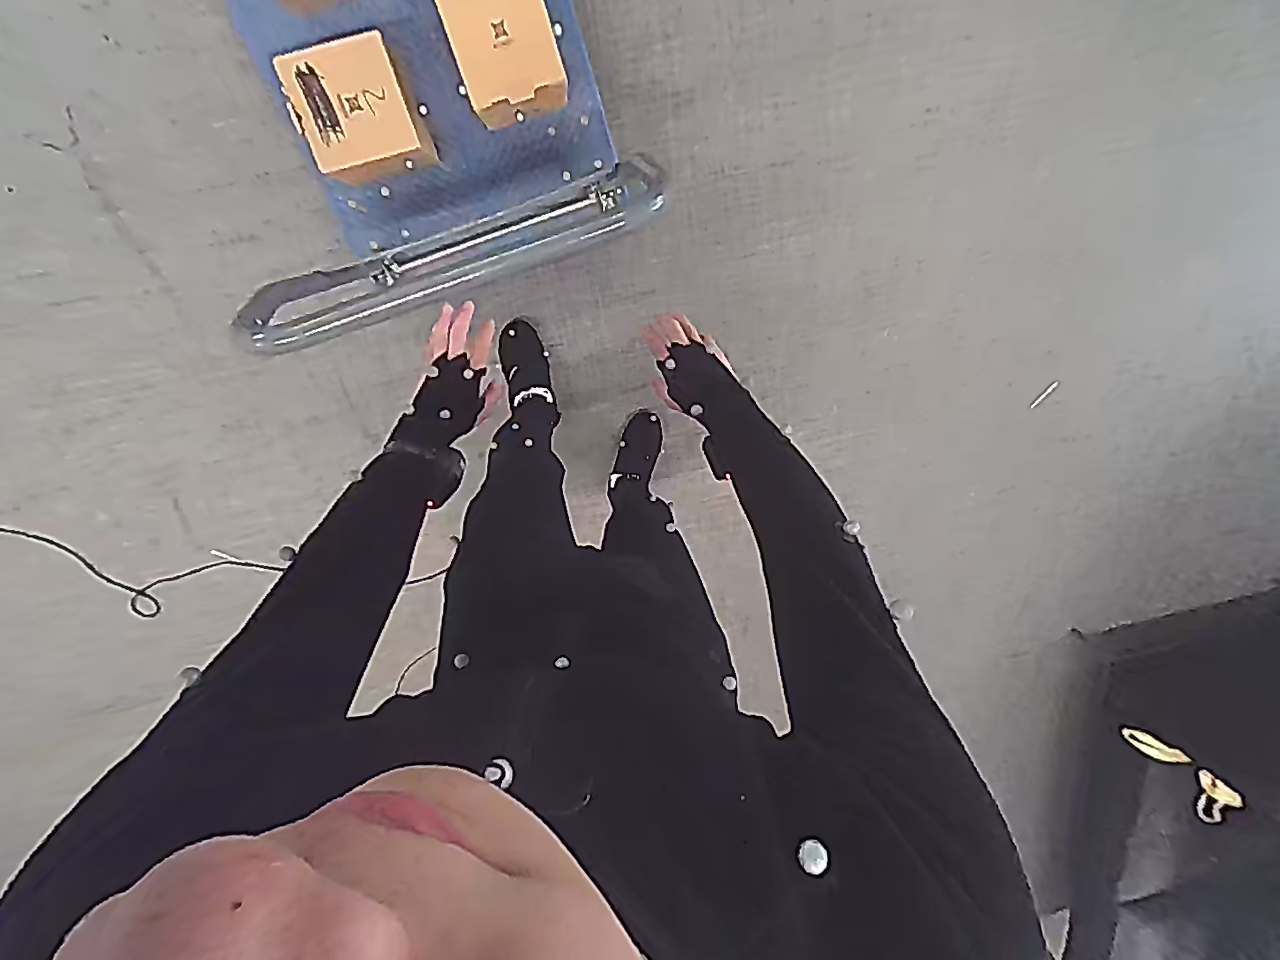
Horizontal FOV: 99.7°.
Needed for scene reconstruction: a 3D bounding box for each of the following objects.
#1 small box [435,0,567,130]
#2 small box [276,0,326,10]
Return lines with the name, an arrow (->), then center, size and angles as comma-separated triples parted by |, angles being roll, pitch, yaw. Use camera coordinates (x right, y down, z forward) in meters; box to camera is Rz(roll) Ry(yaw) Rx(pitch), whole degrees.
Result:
small box -> -0.235, -0.742, 0.939 | 0.168, 0.176, 0.179 | -18, 115, 0
small box -> -0.549, -0.875, 0.835 | 0.168, 0.176, 0.179 | -23, 115, 1
